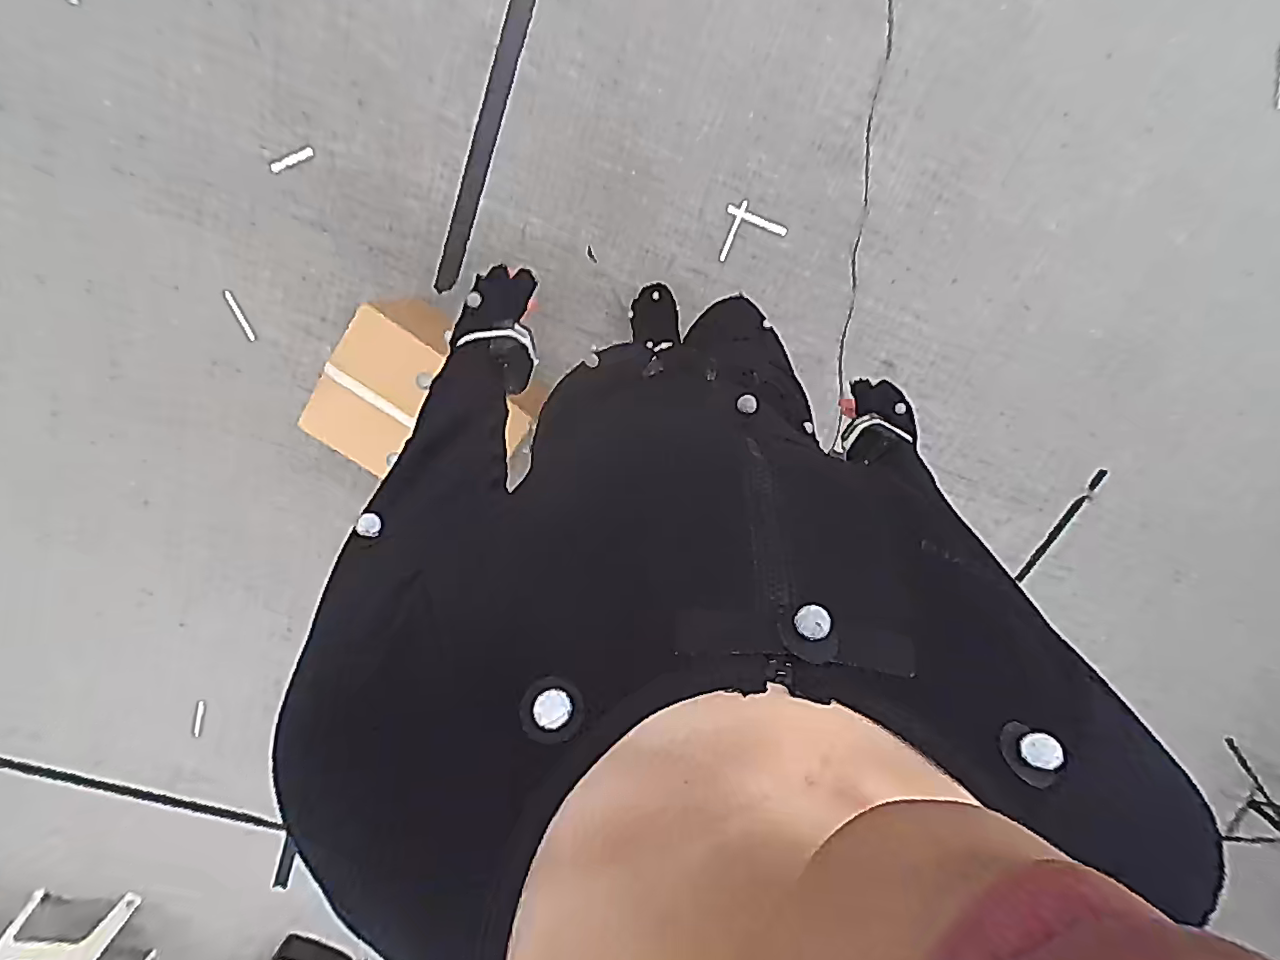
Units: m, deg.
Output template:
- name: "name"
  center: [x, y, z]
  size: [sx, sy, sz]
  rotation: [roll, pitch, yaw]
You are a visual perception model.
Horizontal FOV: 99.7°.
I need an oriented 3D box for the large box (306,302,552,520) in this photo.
- name: "large box"
  center: [-0.471, -0.177, 1.290]
  size: [0.408, 0.320, 0.320]
  rotation: [34, 106, -14]
